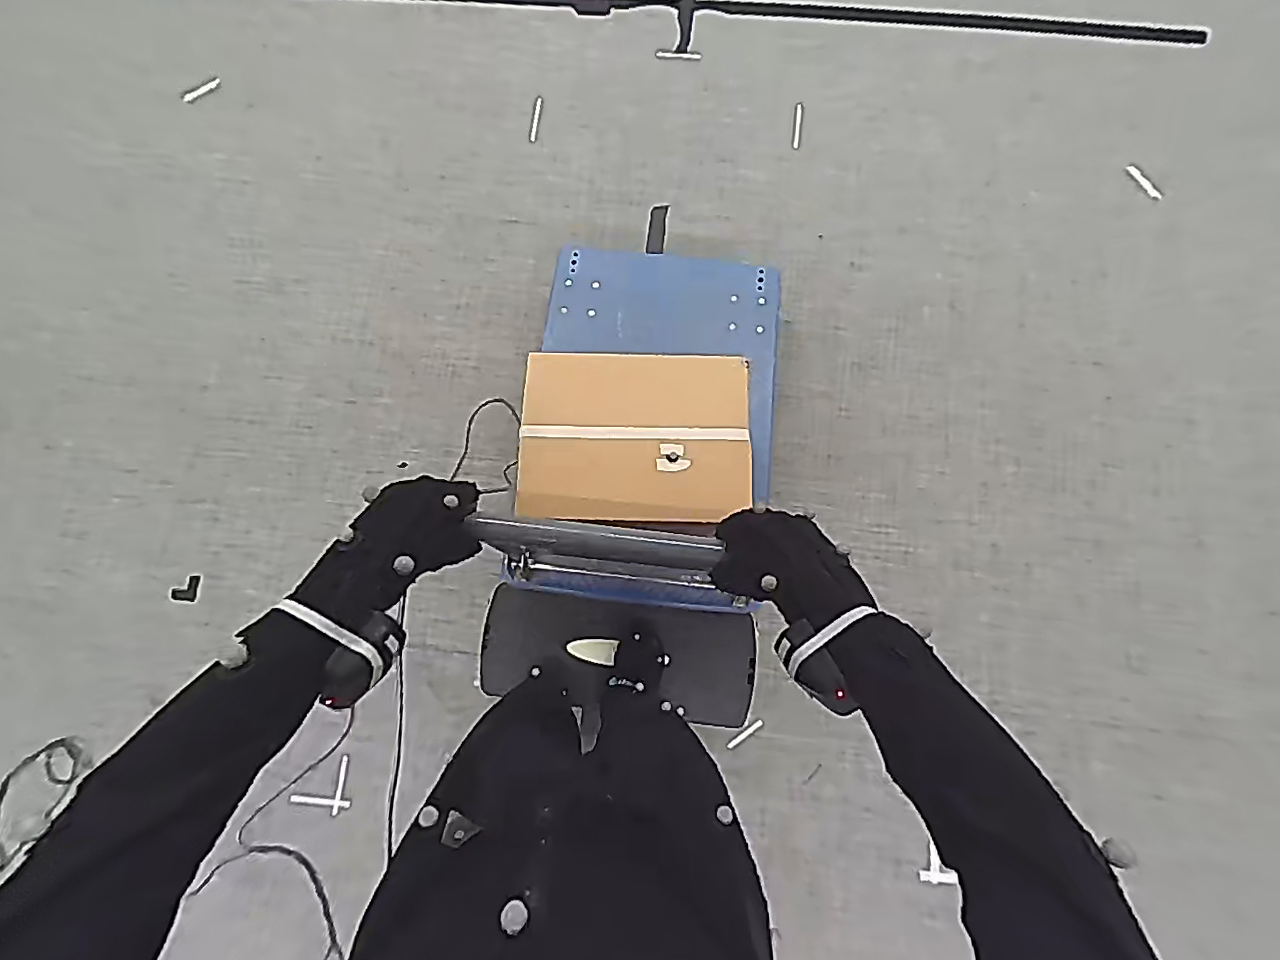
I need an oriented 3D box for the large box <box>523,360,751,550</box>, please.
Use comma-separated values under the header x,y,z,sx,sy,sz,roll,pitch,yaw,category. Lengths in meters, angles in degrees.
x,y,z,sx,sy,sz,roll,pitch,yaw,category
-0.007,-0.033,1.116,0.408,0.320,0.320,2,74,0,large box
